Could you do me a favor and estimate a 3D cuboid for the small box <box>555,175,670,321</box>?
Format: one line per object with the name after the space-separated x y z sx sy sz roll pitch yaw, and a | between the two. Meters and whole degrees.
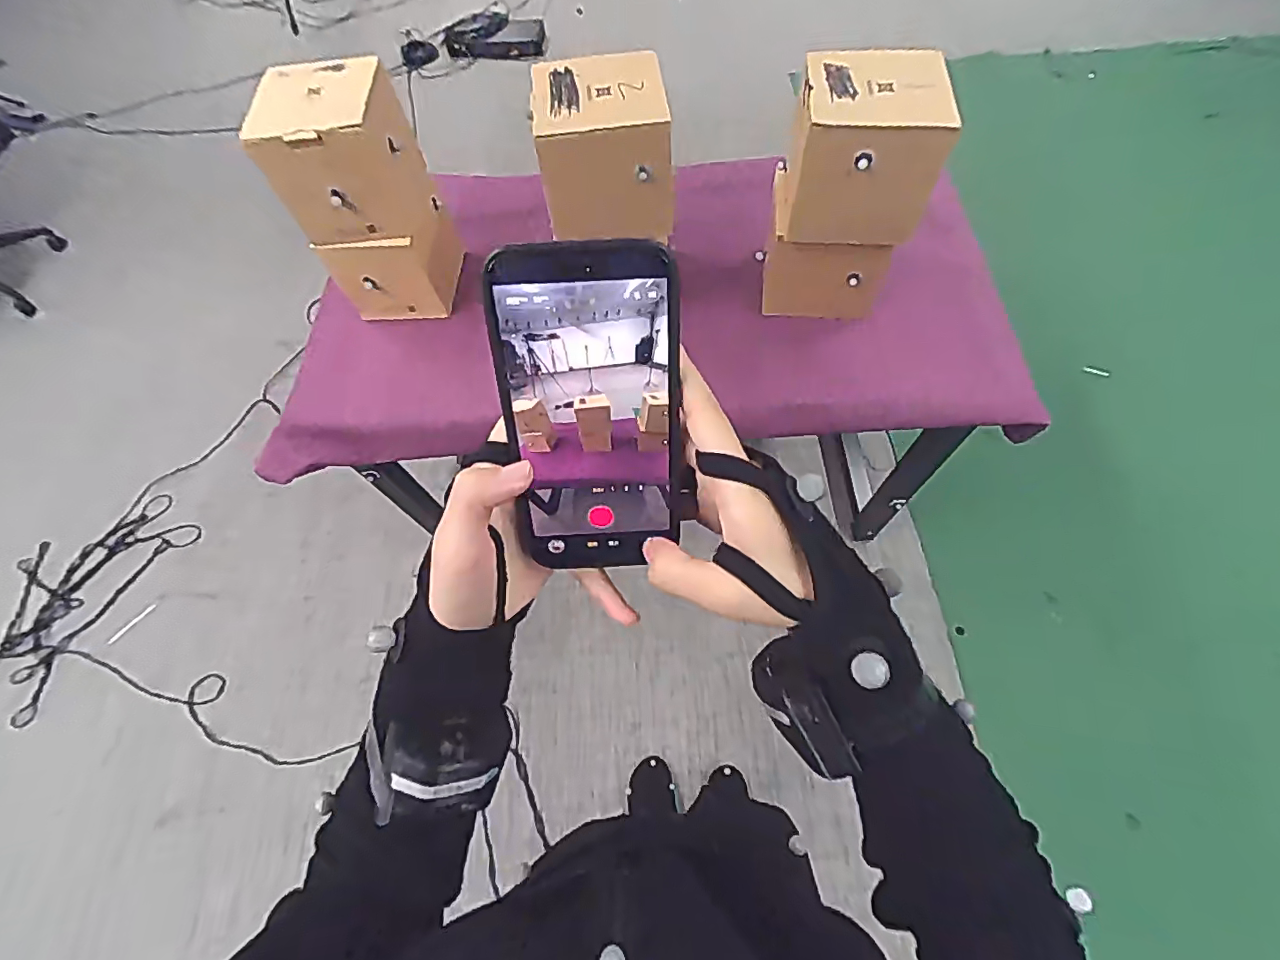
-0.037 -0.390 0.925 0.179 0.176 0.168 -1 63 4 | small box

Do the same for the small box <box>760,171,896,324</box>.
0.303 -0.380 0.899 0.179 0.176 0.168 5 63 7 | small box

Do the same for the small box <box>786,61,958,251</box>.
0.301 -0.439 0.746 0.179 0.176 0.168 5 64 6 | small box

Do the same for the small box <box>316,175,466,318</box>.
-0.426 -0.404 0.959 0.168 0.176 0.179 0 63 4 | small box

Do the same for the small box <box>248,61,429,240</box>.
-0.436 -0.485 0.816 0.168 0.176 0.179 -4 64 1 | small box
